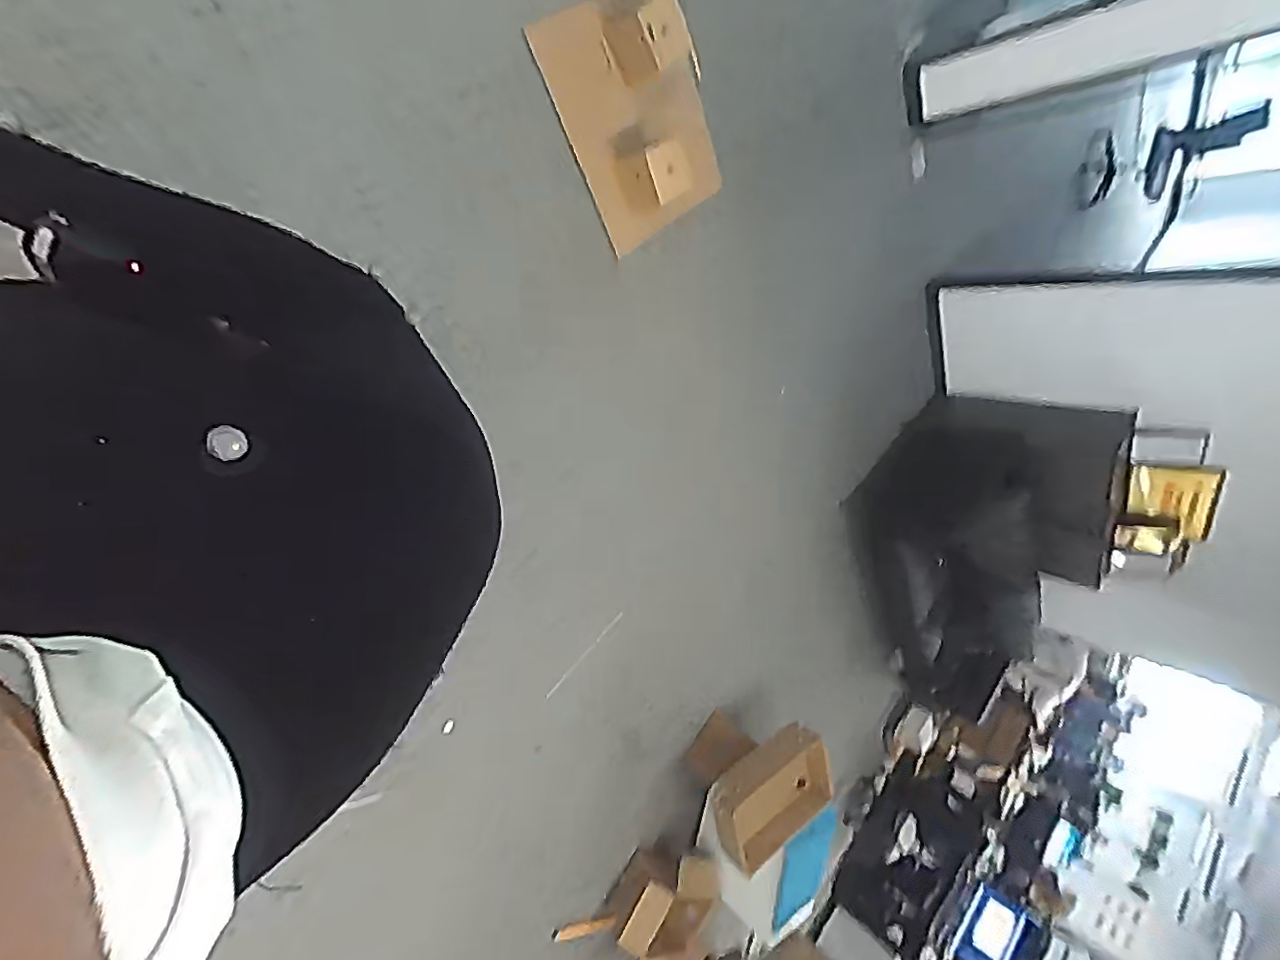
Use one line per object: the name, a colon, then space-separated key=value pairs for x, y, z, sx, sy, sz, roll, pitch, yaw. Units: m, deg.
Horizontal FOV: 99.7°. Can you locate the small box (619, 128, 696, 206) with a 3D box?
small box: x=0.053 y=-1.040 z=1.807 sx=0.179 sy=0.176 sz=0.168 roll=-41 pitch=127 yaw=-25

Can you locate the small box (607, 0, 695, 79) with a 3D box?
small box: x=0.032 y=-1.393 z=1.674 sx=0.179 sy=0.176 sz=0.168 roll=-50 pitch=130 yaw=-17
